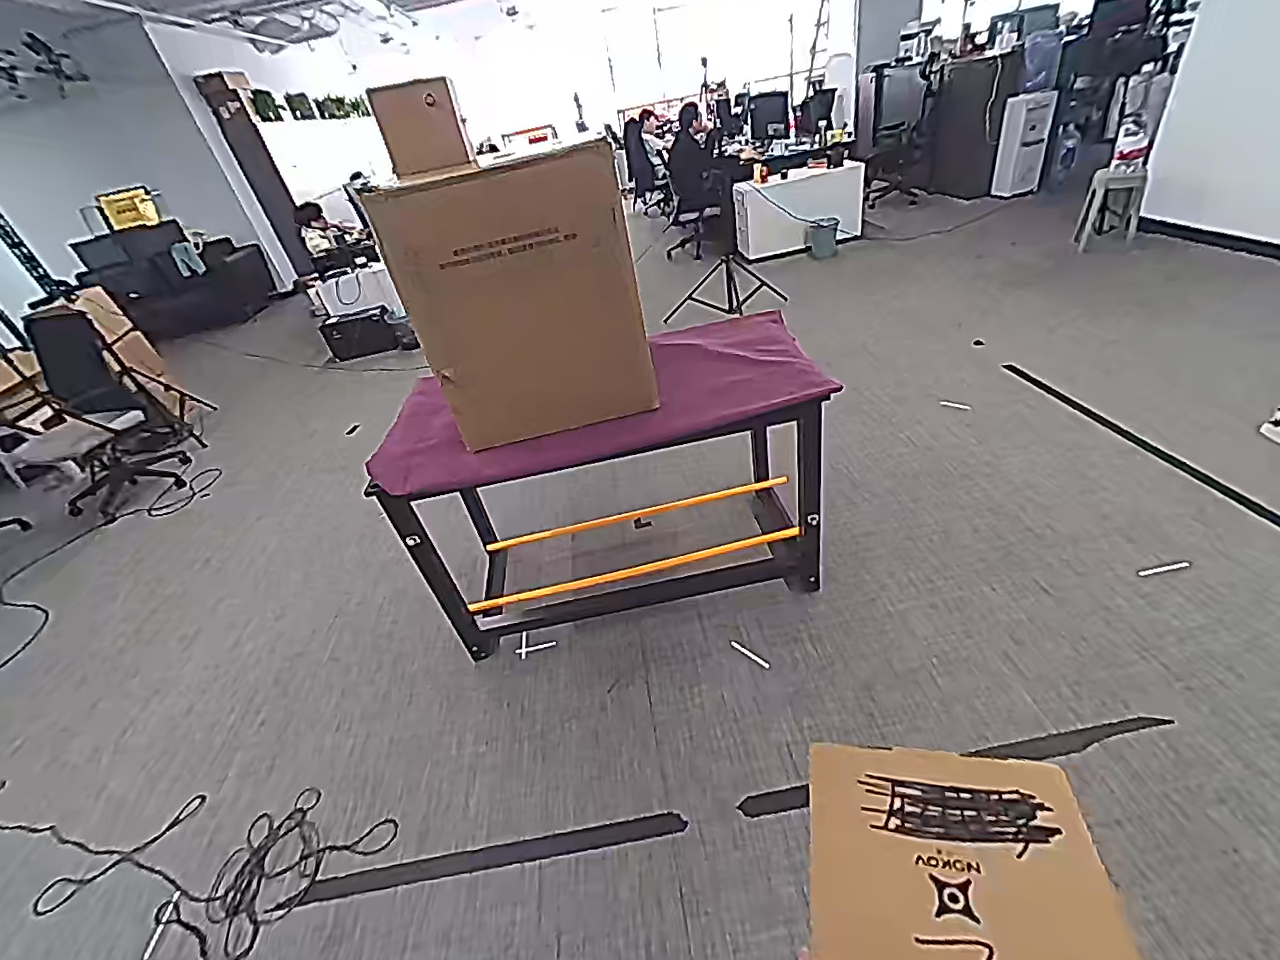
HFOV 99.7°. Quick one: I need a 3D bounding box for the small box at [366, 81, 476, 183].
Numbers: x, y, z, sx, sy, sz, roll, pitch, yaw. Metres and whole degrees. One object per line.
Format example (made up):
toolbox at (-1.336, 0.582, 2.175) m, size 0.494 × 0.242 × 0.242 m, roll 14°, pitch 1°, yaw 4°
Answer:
small box at (-0.496, -0.810, 1.259) m, size 0.179 × 0.176 × 0.168 m, roll -13°, pitch 35°, yaw -2°
